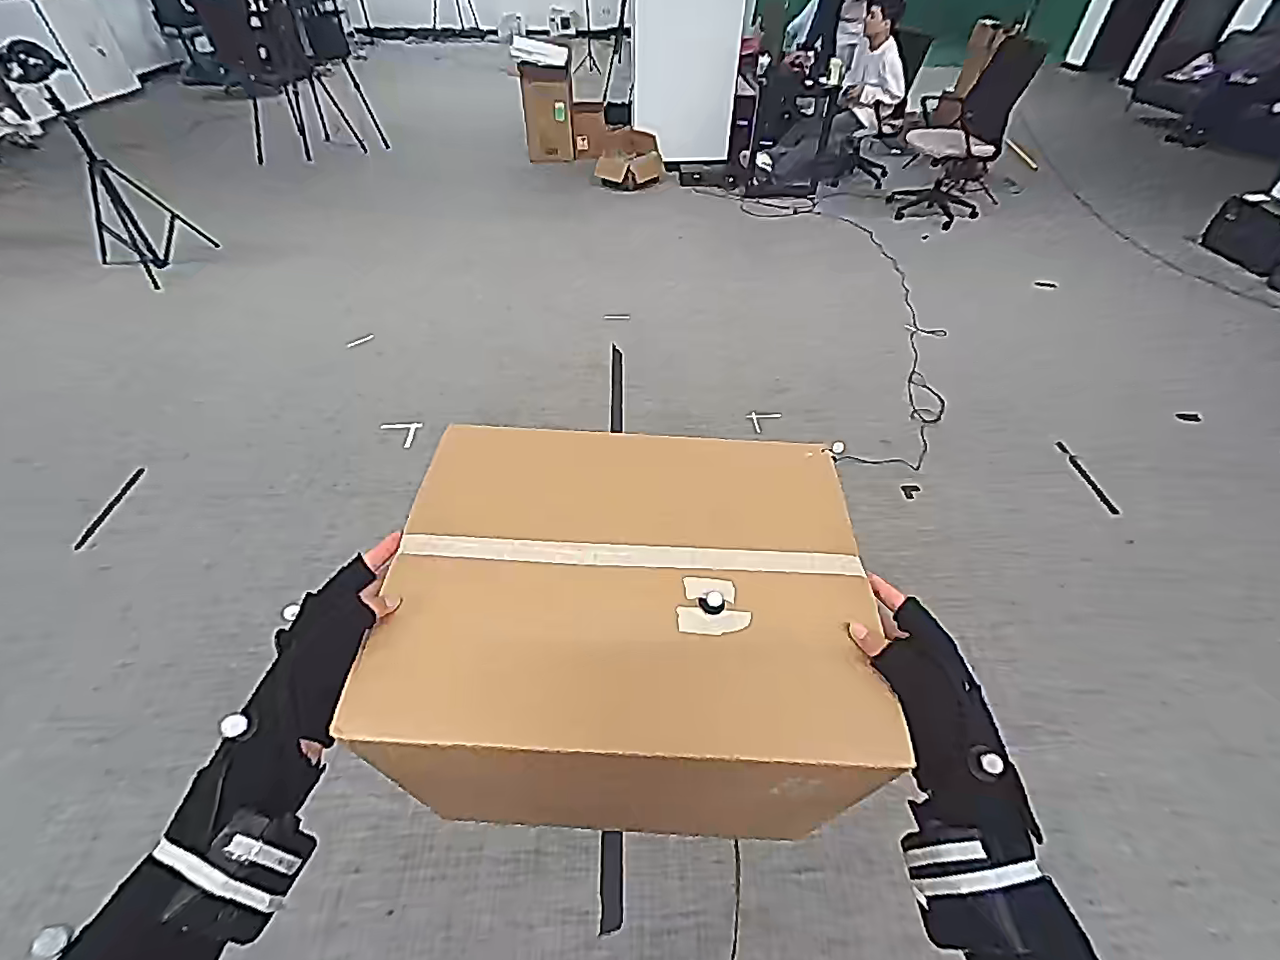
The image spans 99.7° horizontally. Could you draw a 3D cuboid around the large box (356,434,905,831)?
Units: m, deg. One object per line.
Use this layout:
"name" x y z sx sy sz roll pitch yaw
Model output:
"large box" -0.010 0.173 0.592 0.408 0.320 0.320 4 49 -1
